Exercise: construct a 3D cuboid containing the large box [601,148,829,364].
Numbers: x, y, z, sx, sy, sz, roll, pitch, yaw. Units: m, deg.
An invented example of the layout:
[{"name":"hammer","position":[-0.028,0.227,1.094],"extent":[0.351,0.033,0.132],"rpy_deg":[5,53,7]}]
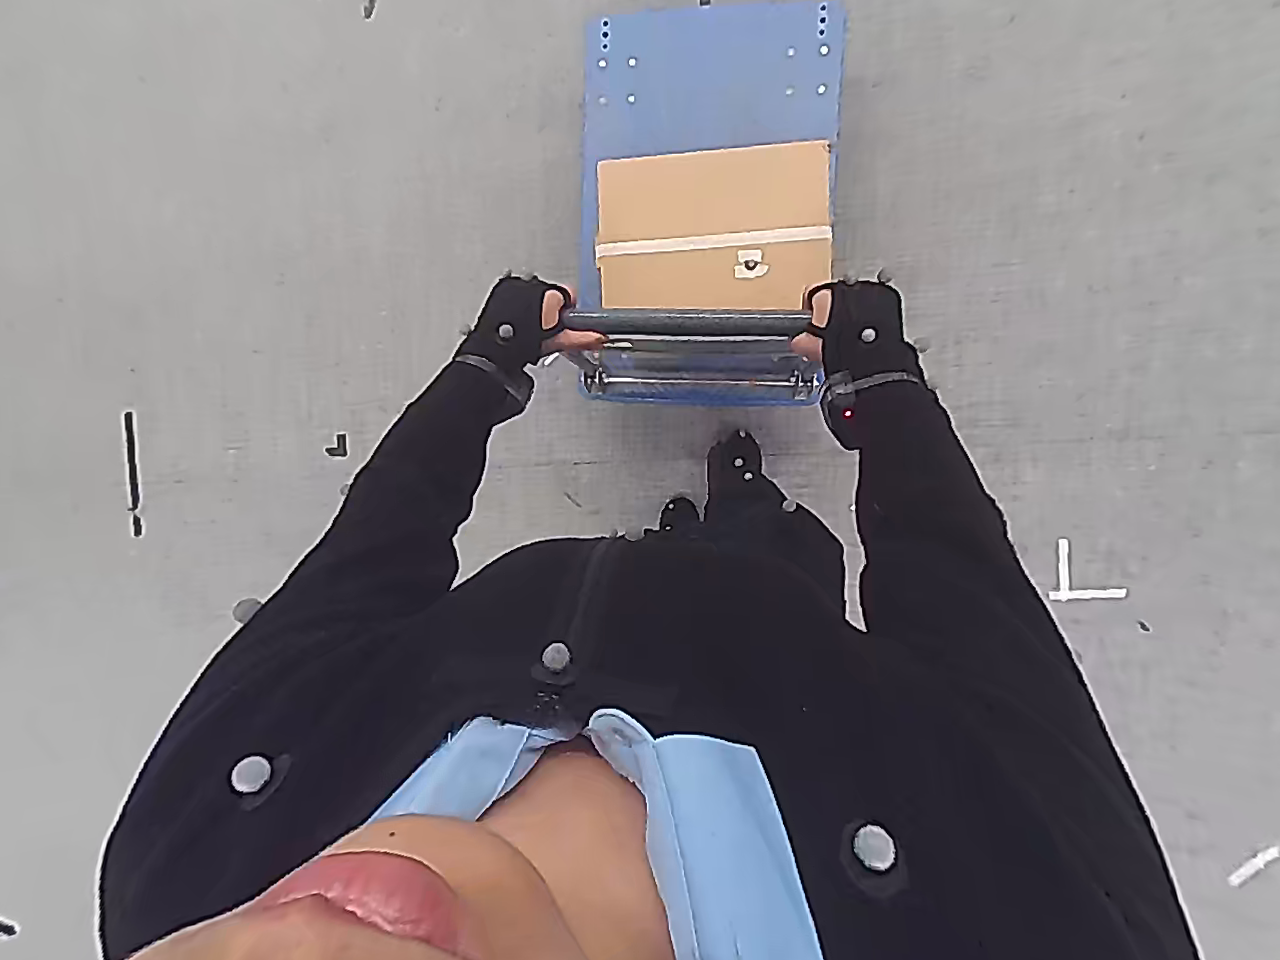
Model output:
[{"name":"large box","position":[0.146,-0.425,1.115],"extent":[0.408,0.320,0.320],"rpy_deg":[-2,95,6]}]
